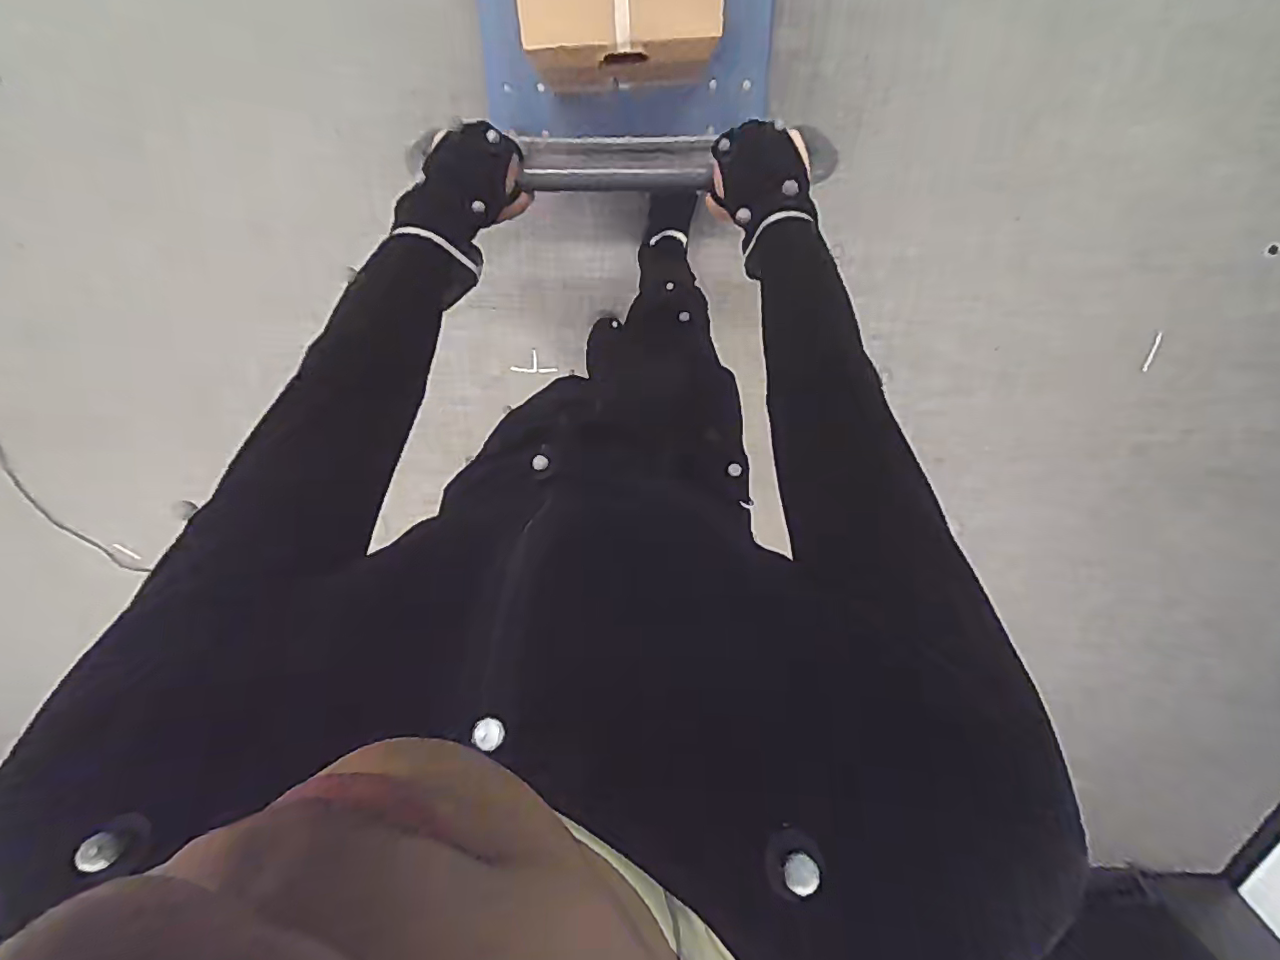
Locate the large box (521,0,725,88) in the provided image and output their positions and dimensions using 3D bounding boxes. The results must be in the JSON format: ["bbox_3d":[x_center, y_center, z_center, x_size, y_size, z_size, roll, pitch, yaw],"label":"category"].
[{"bbox_3d":[-0.033,-0.927,0.886,0.320,0.320,0.408,-3,116,2],"label":"large box"}]
